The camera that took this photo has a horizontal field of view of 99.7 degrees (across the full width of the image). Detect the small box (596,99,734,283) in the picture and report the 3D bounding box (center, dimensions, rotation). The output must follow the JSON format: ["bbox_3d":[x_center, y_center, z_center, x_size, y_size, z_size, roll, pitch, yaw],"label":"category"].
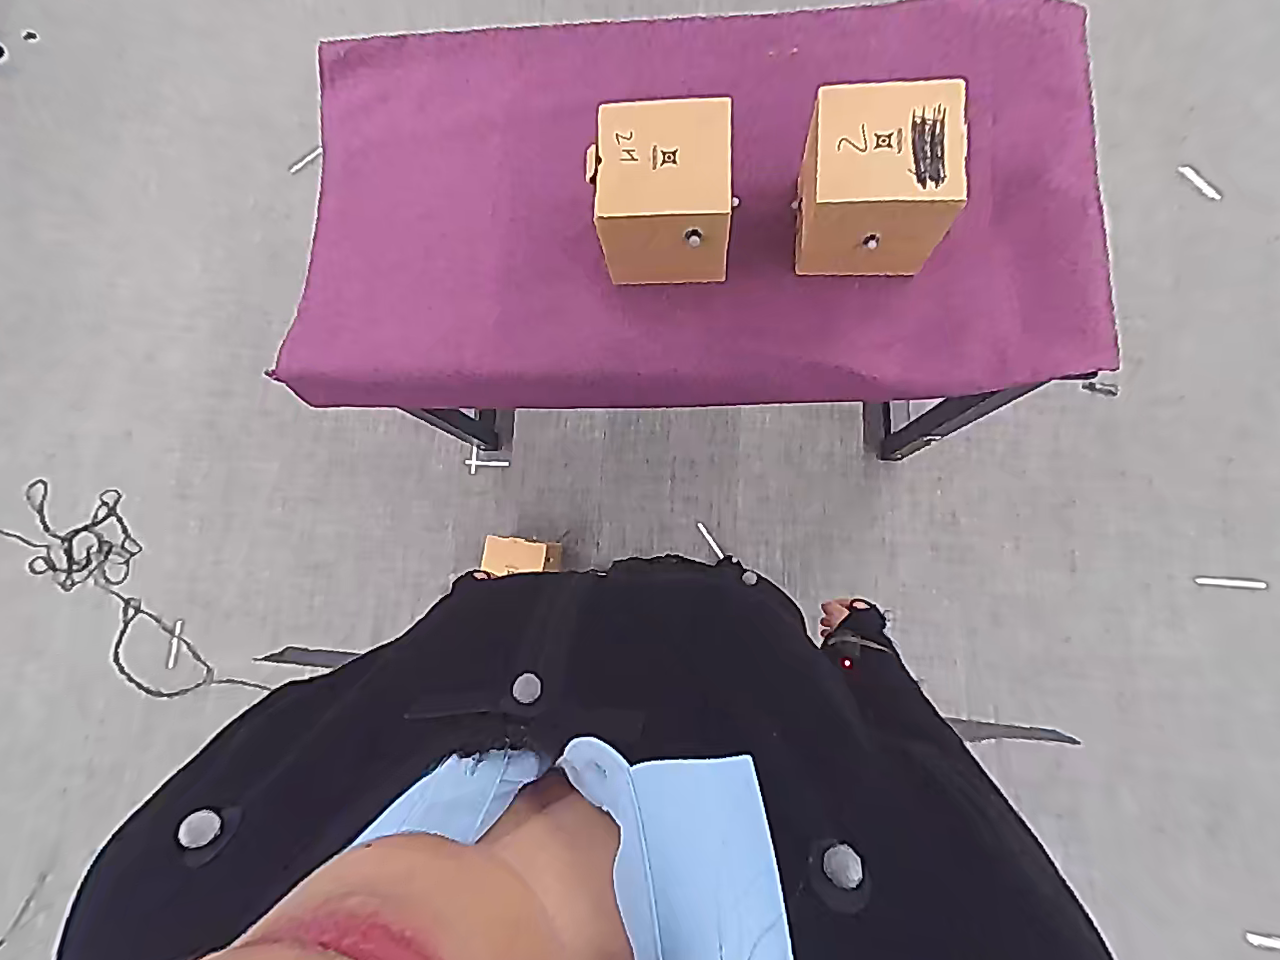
[{"bbox_3d":[0.040,-0.398,0.770,0.179,0.176,0.168,1,81,7],"label":"small box"}]

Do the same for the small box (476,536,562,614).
[{"bbox_3d":[-0.319,0.252,1.456,0.168,0.176,0.179,8,82,7],"label":"small box"}]
